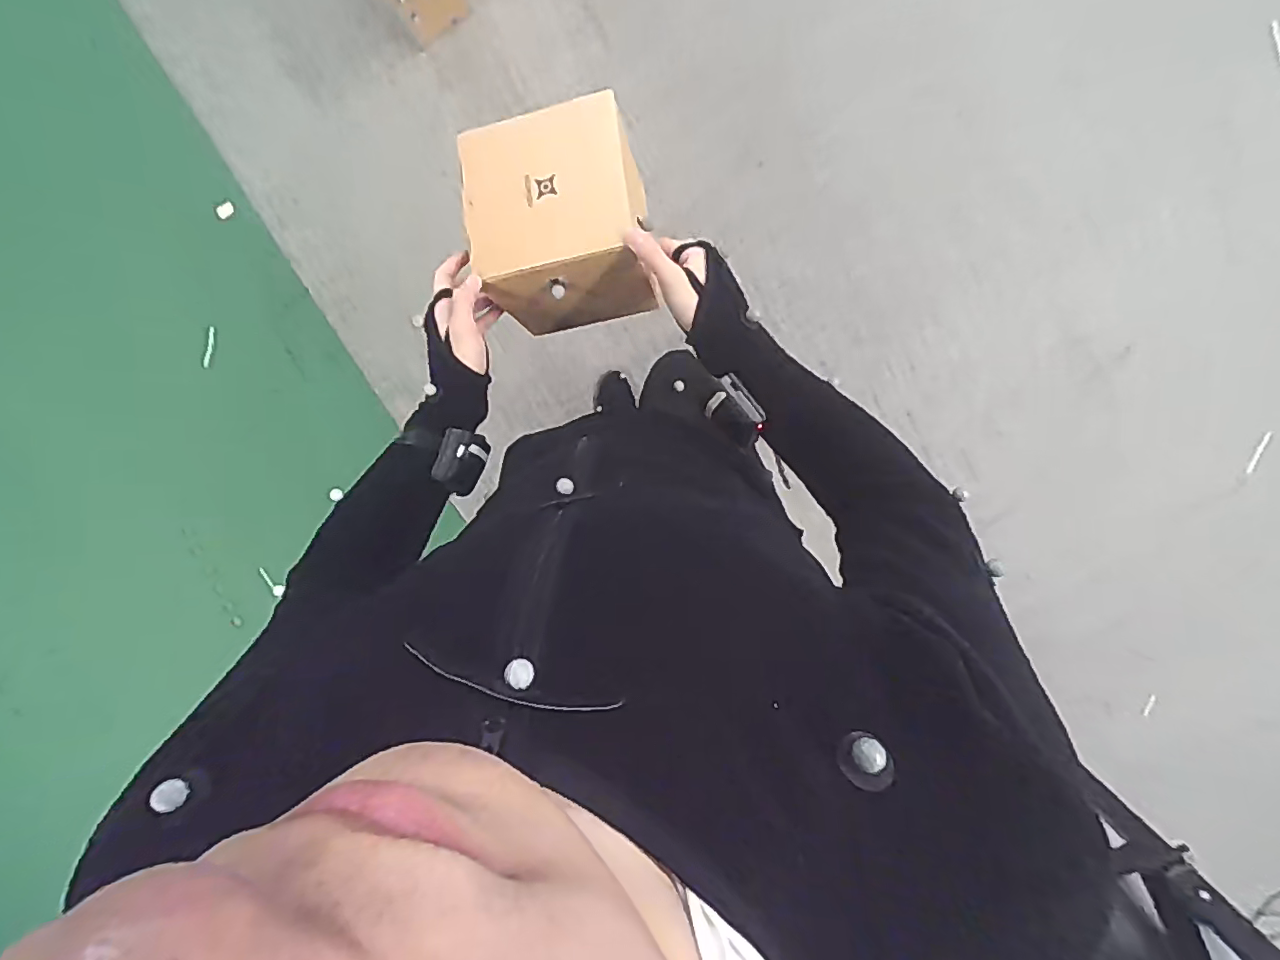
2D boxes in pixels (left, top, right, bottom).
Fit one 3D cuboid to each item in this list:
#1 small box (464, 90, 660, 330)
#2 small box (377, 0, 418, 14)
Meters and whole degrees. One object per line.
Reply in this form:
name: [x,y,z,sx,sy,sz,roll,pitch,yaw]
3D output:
small box: [-0.077,-0.292,0.625,0.179,0.176,0.168,-9,83,11]
small box: [-0.529,-1.123,1.115,0.168,0.176,0.179,-31,100,6]
